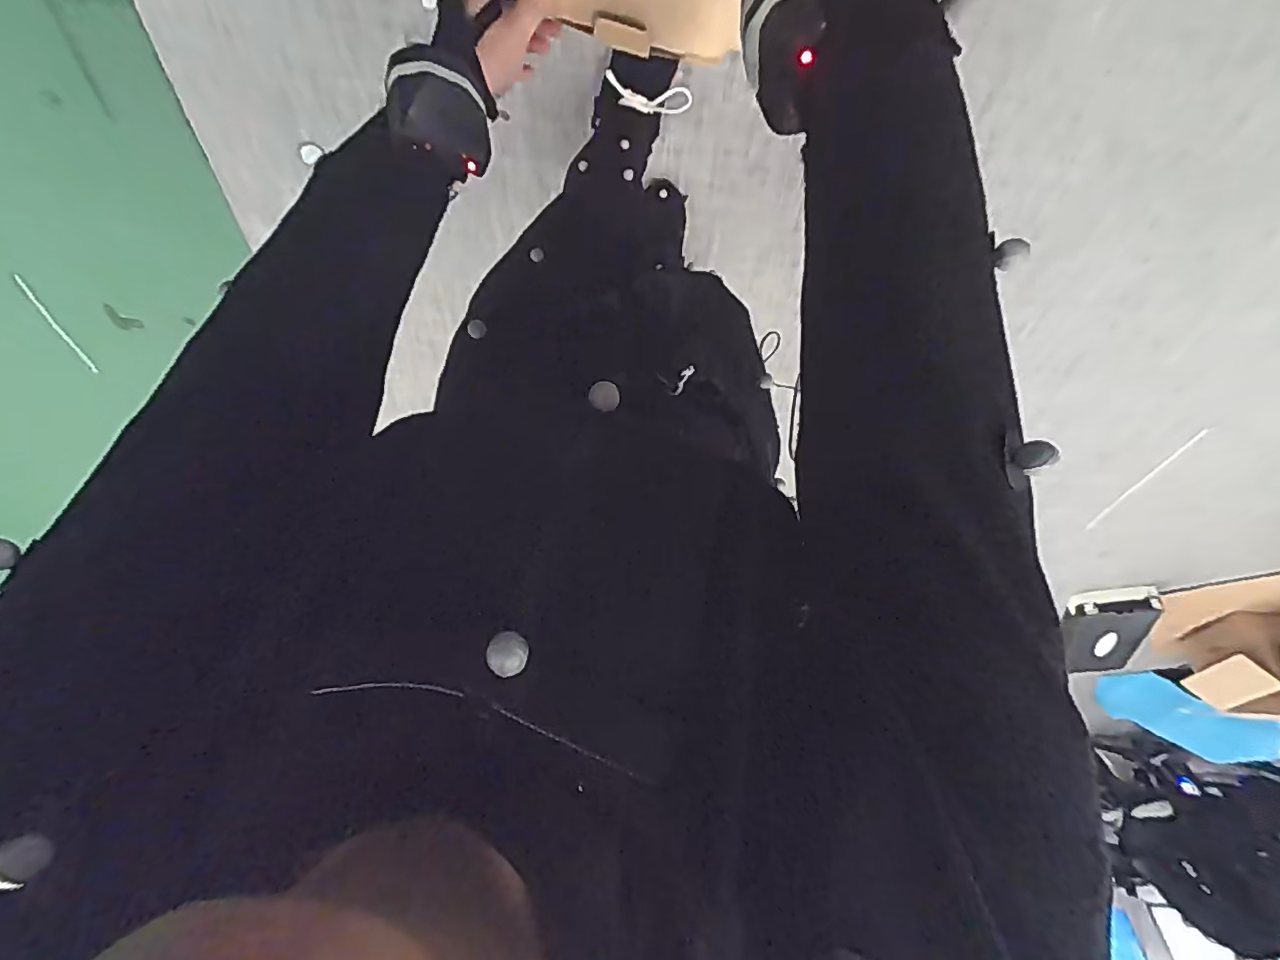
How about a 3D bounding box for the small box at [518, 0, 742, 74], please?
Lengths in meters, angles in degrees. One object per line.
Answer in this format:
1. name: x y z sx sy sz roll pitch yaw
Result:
1. small box: 0.008 -0.452 0.406 0.168 0.176 0.179 9 139 -10
